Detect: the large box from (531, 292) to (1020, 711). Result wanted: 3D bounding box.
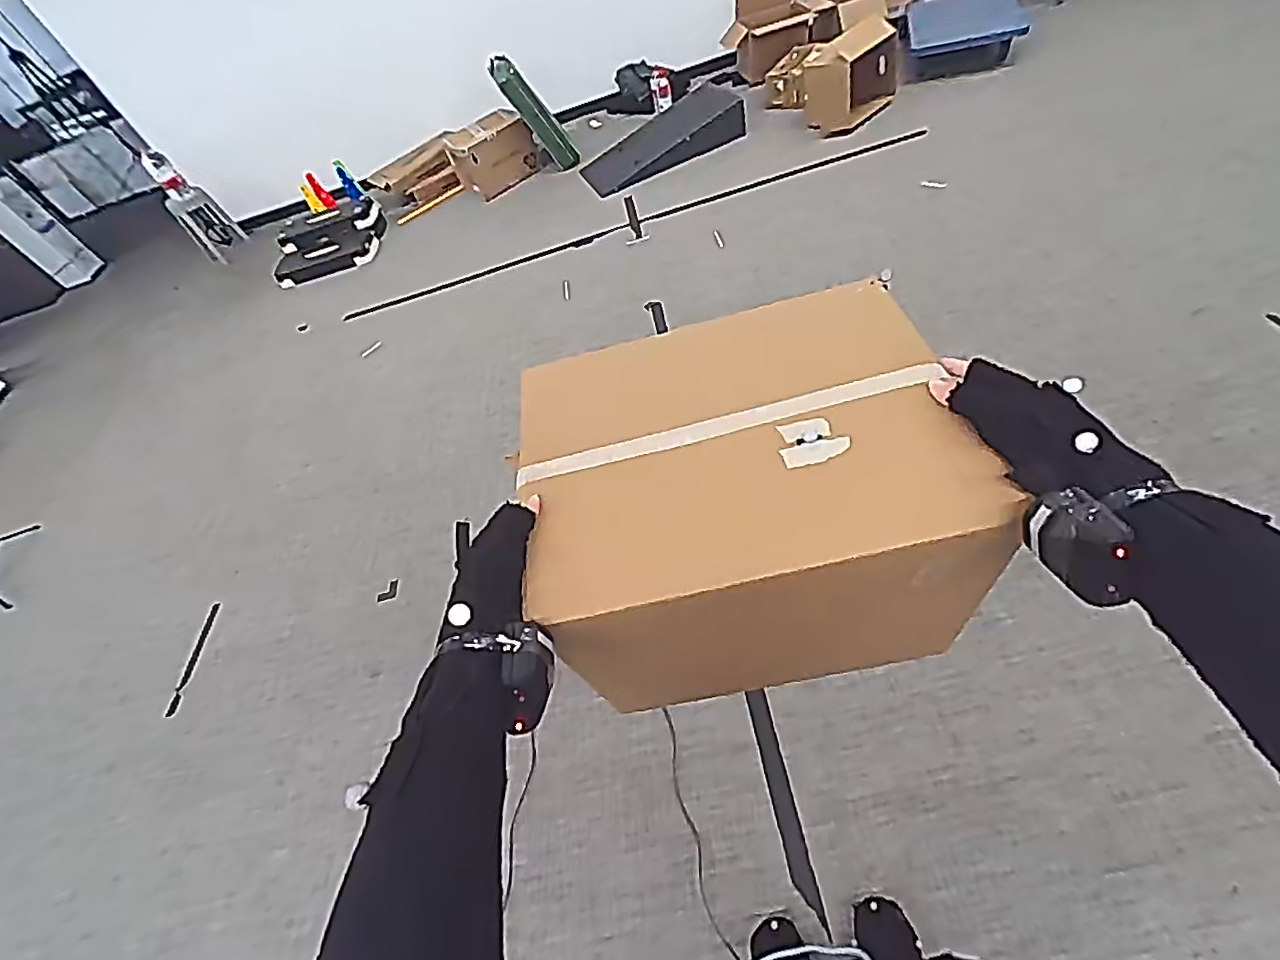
[{"bbox_3d":[0.115,0.042,0.641,0.408,0.320,0.320,-14,53,5],"label":"large box"}]
